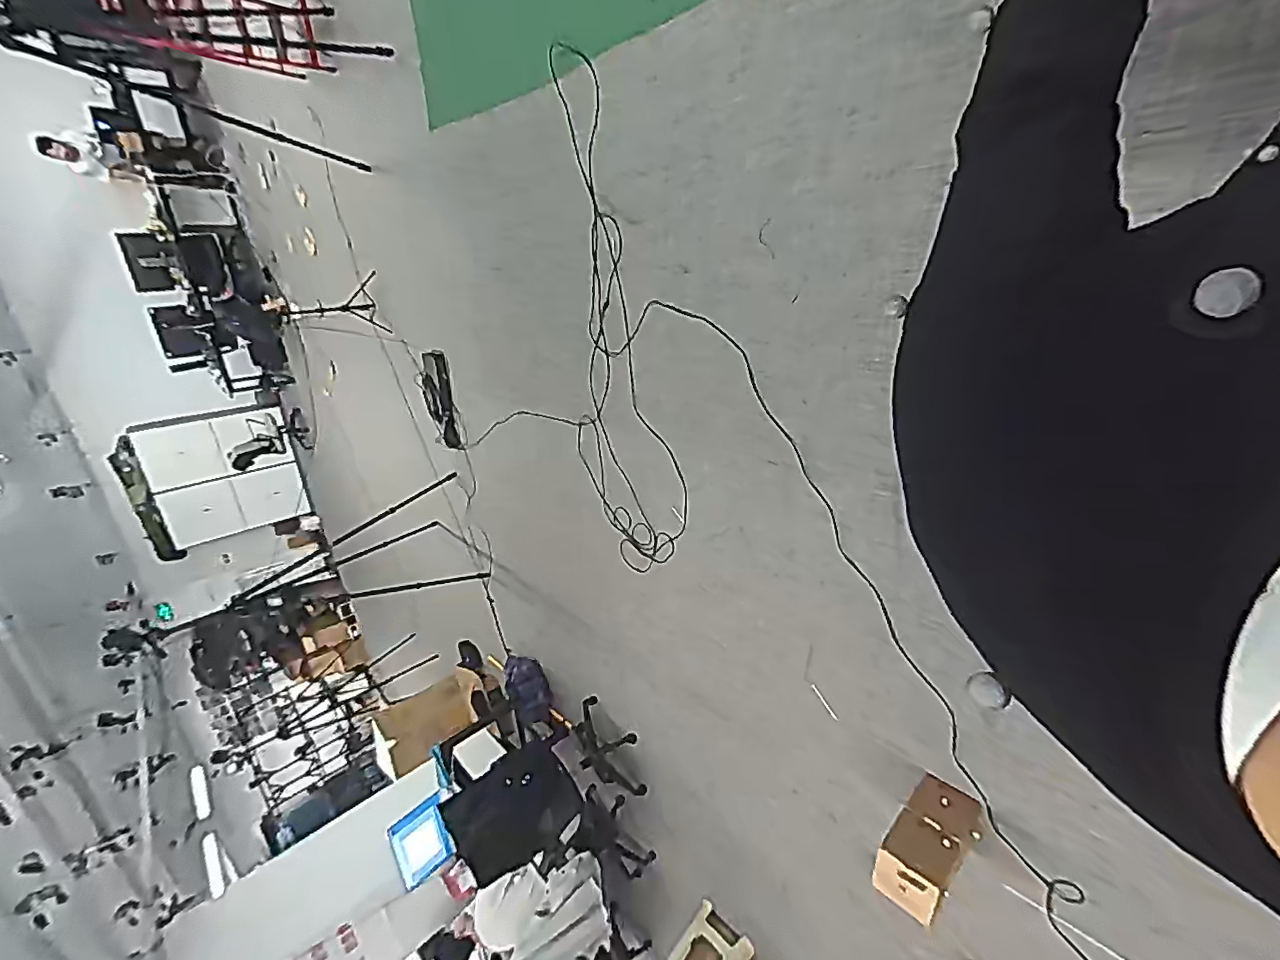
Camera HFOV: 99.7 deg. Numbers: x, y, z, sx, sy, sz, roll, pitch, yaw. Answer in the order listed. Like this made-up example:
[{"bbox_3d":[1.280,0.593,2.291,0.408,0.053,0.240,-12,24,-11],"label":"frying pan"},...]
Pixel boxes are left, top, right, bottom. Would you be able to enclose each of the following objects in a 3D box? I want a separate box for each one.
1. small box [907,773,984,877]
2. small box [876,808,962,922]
[{"bbox_3d":[0.941,1.060,1.678,0.168,0.176,0.179,19,119,47],"label":"small box"},{"bbox_3d":[0.817,1.112,1.579,0.168,0.176,0.179,20,123,43],"label":"small box"}]
